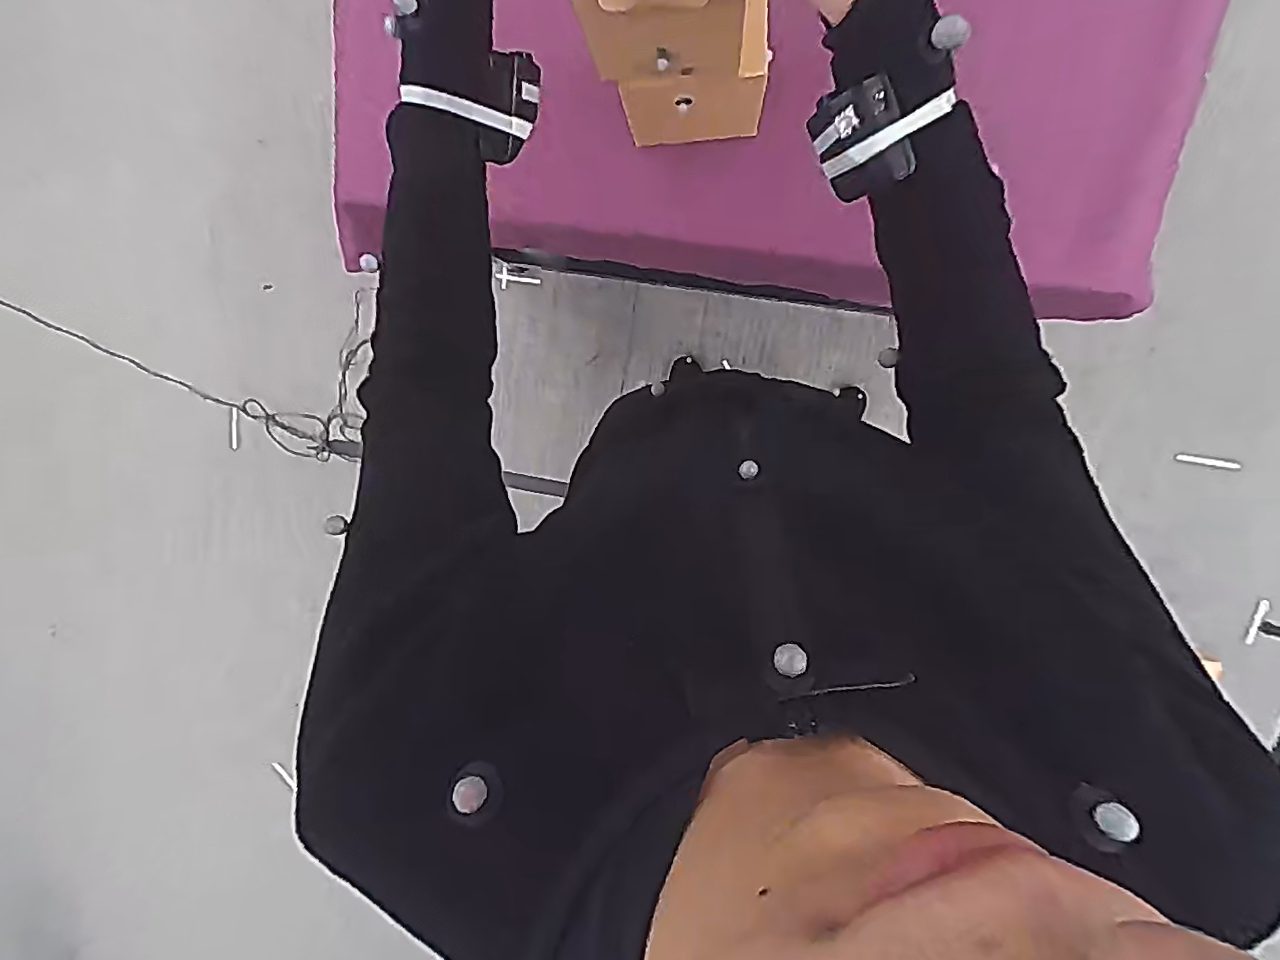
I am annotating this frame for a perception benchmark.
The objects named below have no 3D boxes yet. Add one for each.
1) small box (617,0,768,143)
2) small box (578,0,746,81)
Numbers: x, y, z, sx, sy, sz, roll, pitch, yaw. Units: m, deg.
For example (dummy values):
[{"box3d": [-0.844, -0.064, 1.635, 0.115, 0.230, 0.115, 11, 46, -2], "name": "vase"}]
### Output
[{"box3d": [0.067, -0.556, 0.691, 0.179, 0.176, 0.168, -1, 101, 7], "name": "small box"}, {"box3d": [0.026, -0.535, 0.531, 0.168, 0.176, 0.179, 4, 101, 7], "name": "small box"}]
